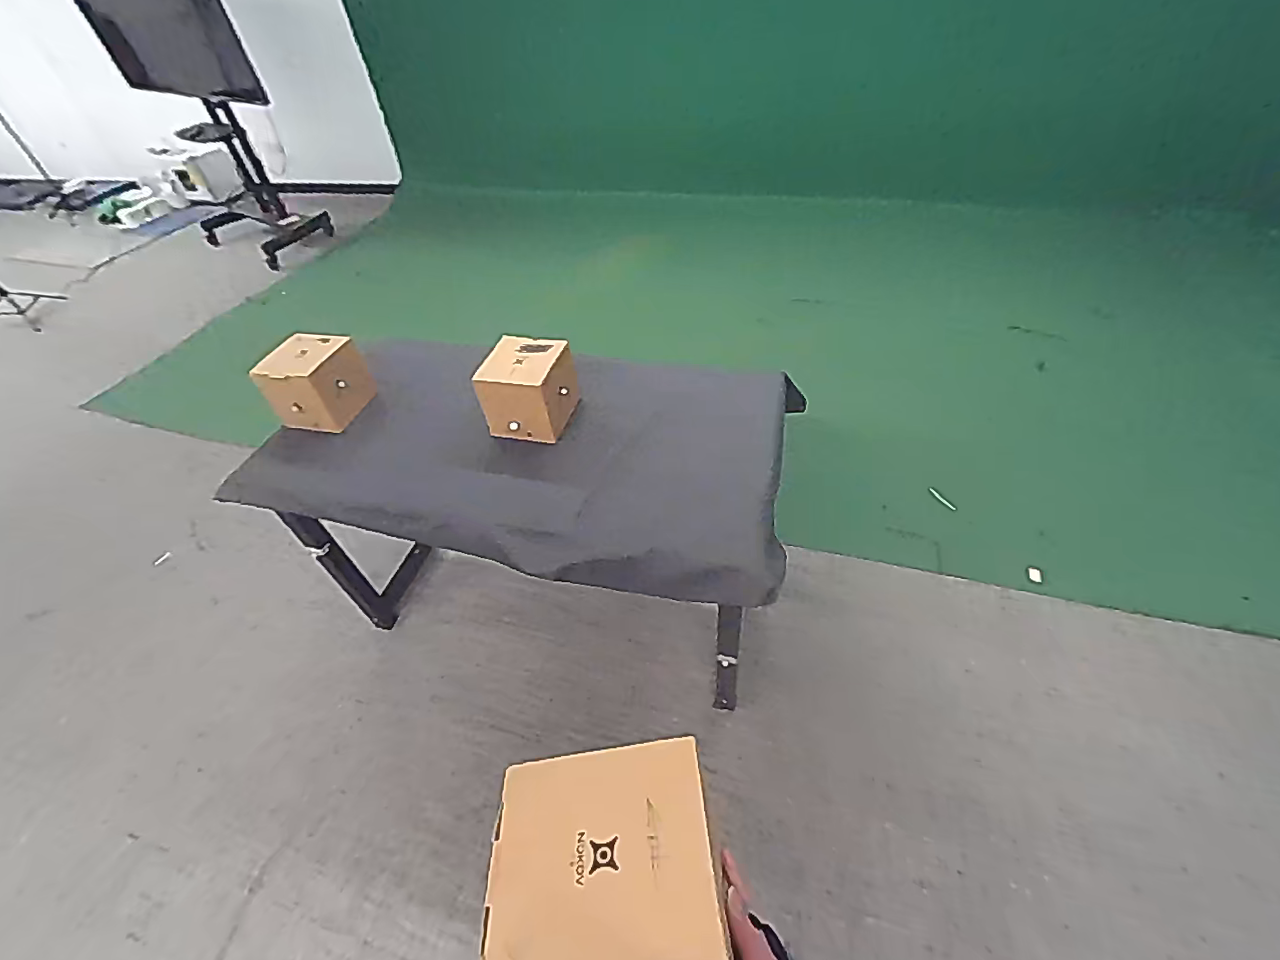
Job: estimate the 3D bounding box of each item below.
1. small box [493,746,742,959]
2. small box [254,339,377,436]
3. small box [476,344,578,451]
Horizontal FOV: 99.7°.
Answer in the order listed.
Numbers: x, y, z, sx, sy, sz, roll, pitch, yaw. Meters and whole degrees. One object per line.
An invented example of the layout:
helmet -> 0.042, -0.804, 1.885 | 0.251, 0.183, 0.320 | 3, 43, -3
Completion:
small box -> -0.011, 0.366, 0.473 | 0.179, 0.176, 0.168 | -10, 37, 2
small box -> -0.798, -0.231, 1.356 | 0.168, 0.176, 0.179 | 7, 48, 11
small box -> -0.254, -0.195, 1.271 | 0.168, 0.176, 0.179 | 8, 48, 13
